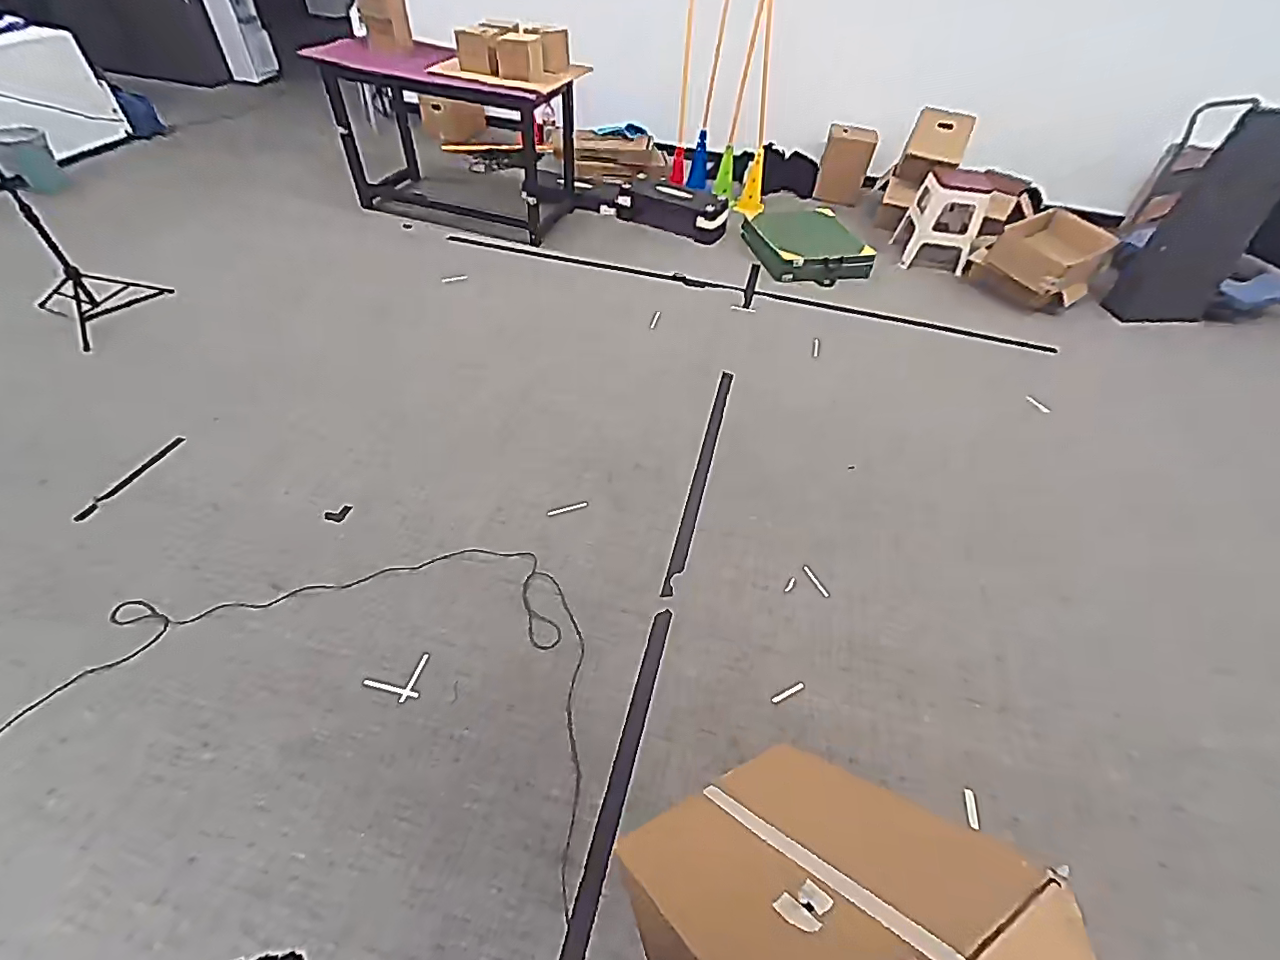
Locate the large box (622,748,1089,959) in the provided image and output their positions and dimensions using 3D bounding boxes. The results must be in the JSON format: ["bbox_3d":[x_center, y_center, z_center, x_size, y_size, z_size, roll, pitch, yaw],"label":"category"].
[{"bbox_3d":[0.226,0.577,0.615,0.320,0.408,0.320,-17,89,-25],"label":"large box"}]
